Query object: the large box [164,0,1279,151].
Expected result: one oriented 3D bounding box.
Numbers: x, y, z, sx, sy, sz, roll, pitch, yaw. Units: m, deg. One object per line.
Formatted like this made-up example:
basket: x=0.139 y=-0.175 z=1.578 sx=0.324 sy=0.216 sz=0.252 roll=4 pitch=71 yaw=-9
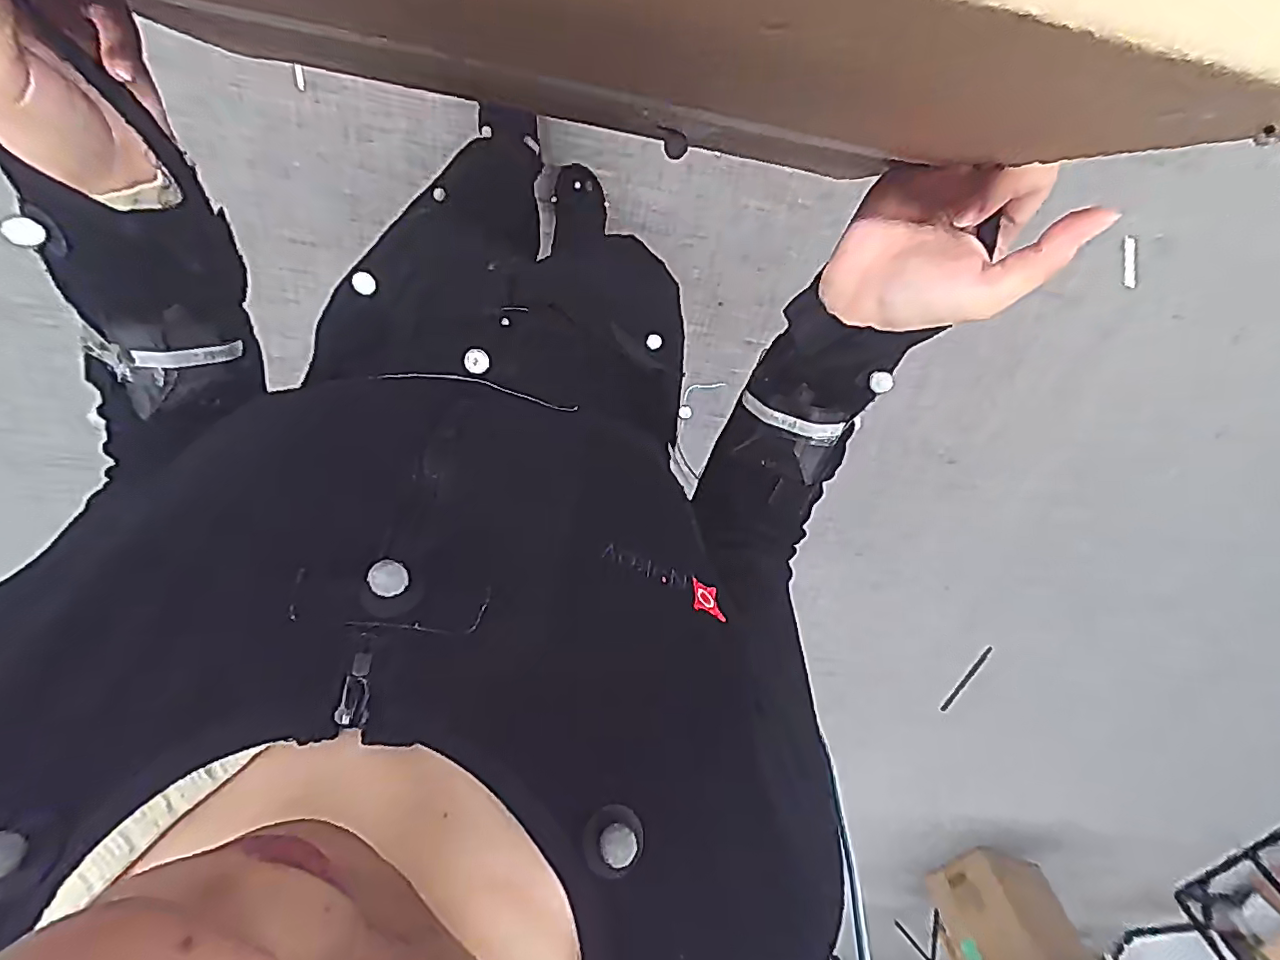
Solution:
large box: x=-0.016 y=-0.318 z=0.152 sx=0.408 sy=0.320 sz=0.320 roll=6 pitch=117 yaw=-8
